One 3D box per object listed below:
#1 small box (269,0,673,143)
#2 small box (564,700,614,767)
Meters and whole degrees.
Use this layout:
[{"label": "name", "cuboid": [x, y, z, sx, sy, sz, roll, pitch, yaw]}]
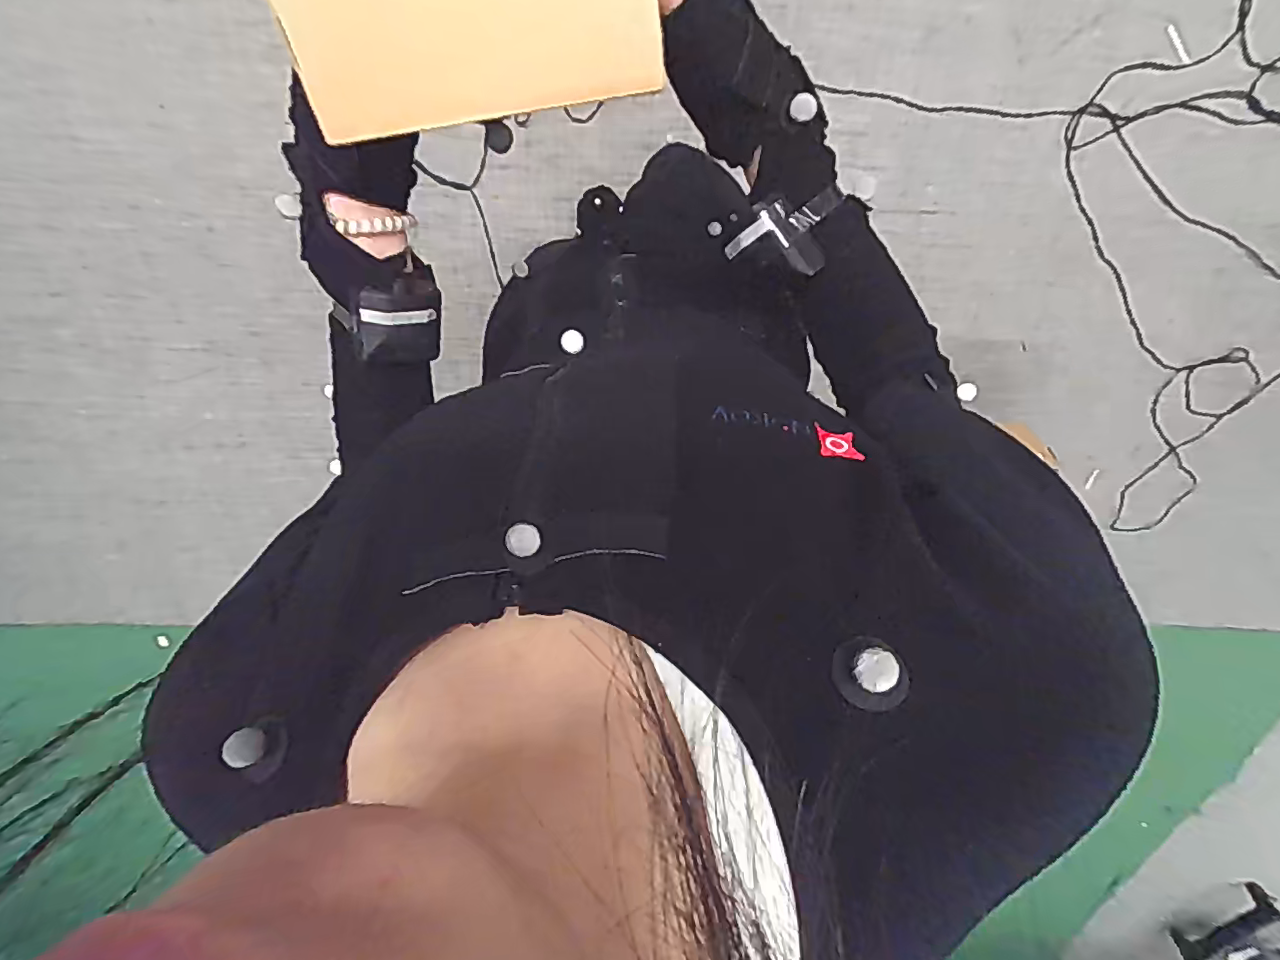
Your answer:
[{"label": "small box", "cuboid": [-0.080, -0.288, 0.277, 0.179, 0.176, 0.168, -5, 127, 6]}, {"label": "small box", "cuboid": [-0.189, 0.956, 2.046, 0.179, 0.176, 0.168, -2, 119, -3]}]
